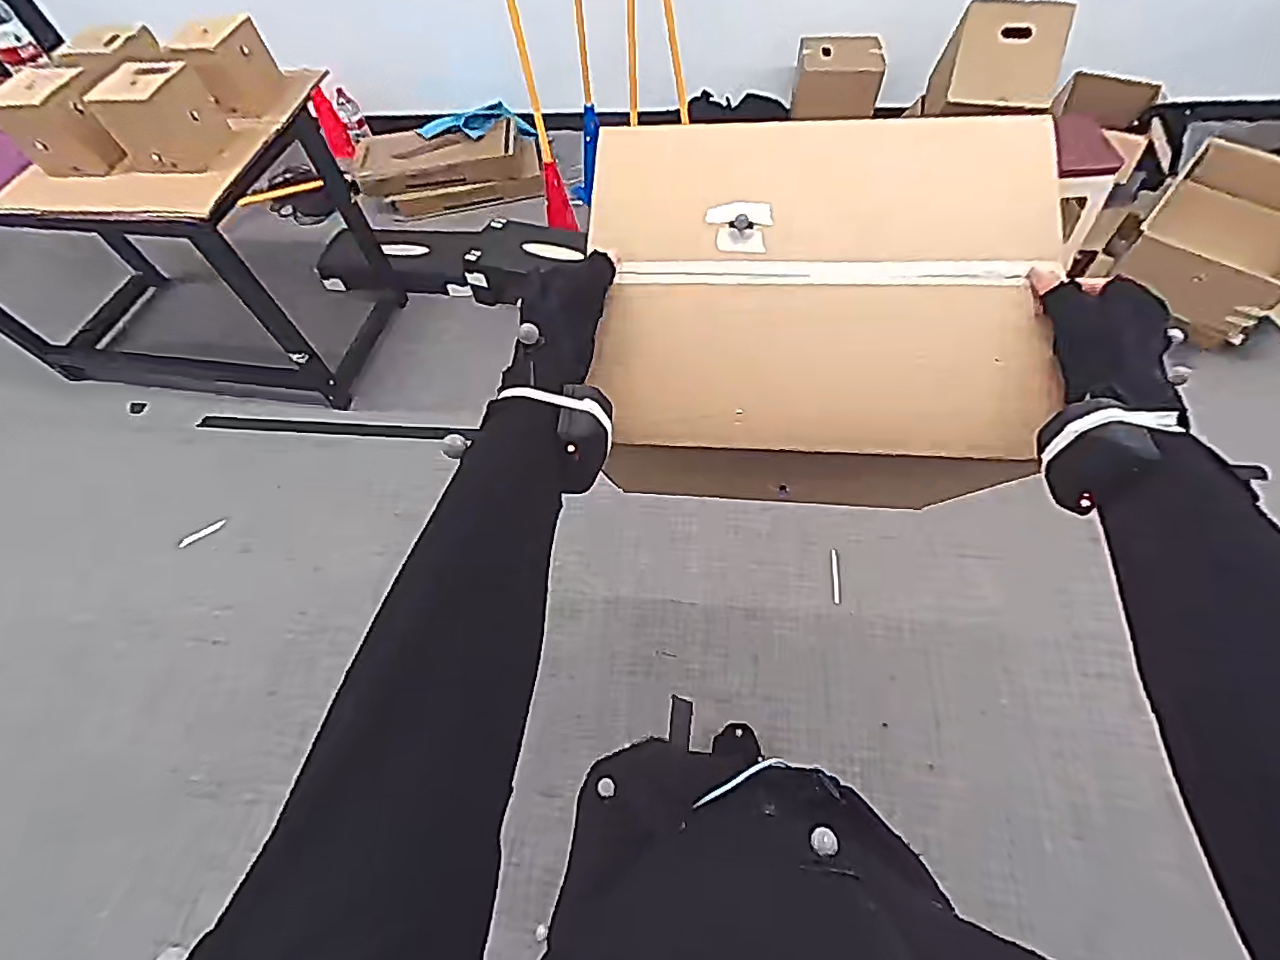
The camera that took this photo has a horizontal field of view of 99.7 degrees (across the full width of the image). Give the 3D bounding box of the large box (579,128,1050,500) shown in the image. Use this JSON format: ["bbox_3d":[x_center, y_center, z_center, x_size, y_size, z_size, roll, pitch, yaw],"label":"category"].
[{"bbox_3d":[0.170,-0.152,0.638,0.408,0.320,0.320,3,79,8],"label":"large box"}]
